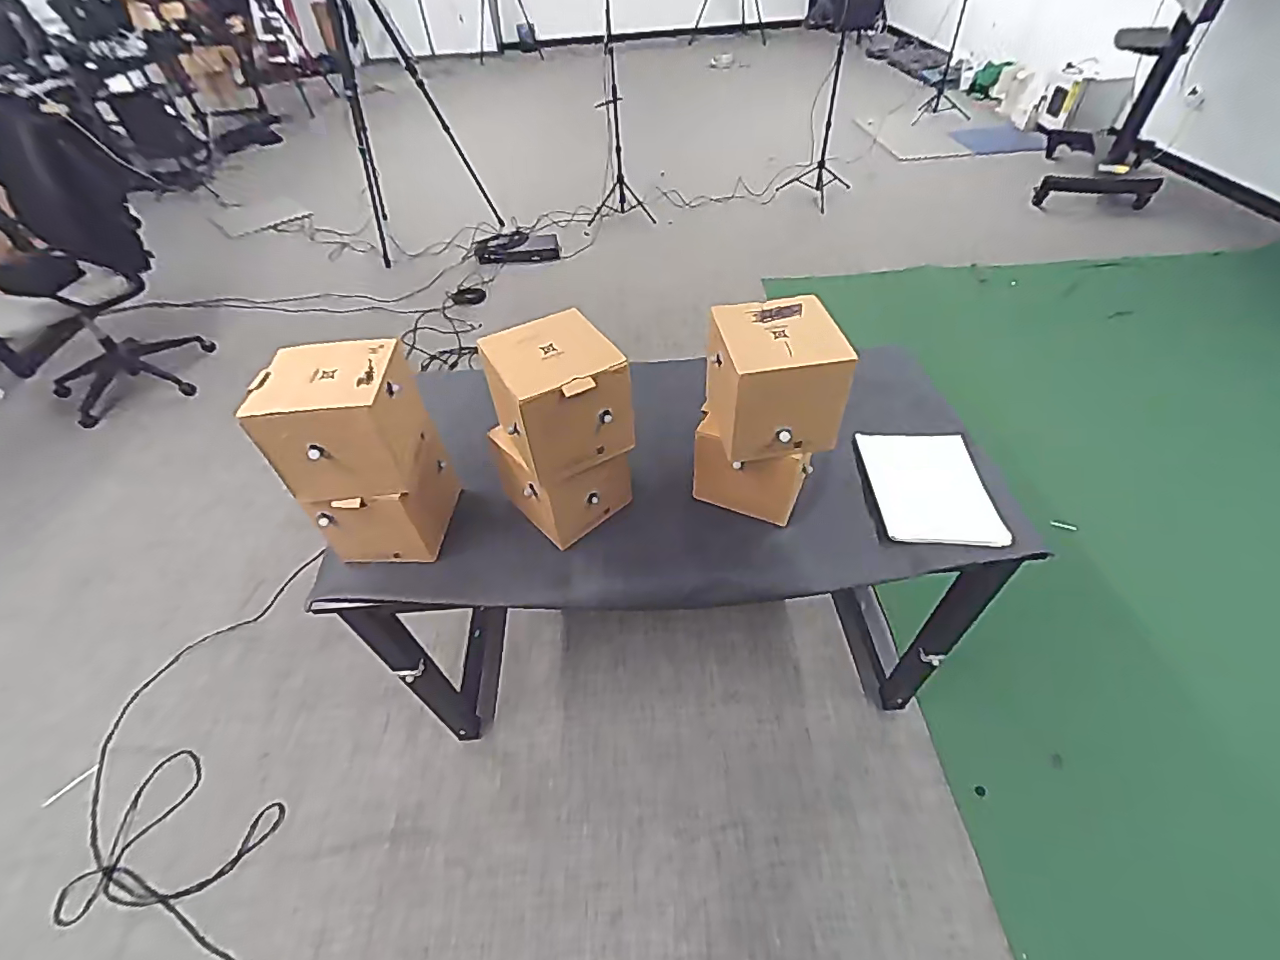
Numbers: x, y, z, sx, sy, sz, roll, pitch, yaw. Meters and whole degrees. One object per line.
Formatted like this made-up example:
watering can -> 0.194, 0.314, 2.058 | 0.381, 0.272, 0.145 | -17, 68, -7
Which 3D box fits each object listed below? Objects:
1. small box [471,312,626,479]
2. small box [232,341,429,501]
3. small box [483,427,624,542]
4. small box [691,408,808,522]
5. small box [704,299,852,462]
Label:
small box -> -0.132, -0.123, 0.823 | 0.168, 0.176, 0.179 | -25, 50, -20
small box -> -0.440, -0.084, 0.804 | 0.179, 0.176, 0.168 | -6, 46, -2
small box -> -0.142, -0.016, 0.946 | 0.168, 0.176, 0.179 | -35, 54, -27
small box -> 0.200, -0.050, 0.956 | 0.179, 0.176, 0.168 | 18, 50, 20
small box -> 0.195, -0.151, 0.826 | 0.168, 0.176, 0.179 | -8, 47, -2
